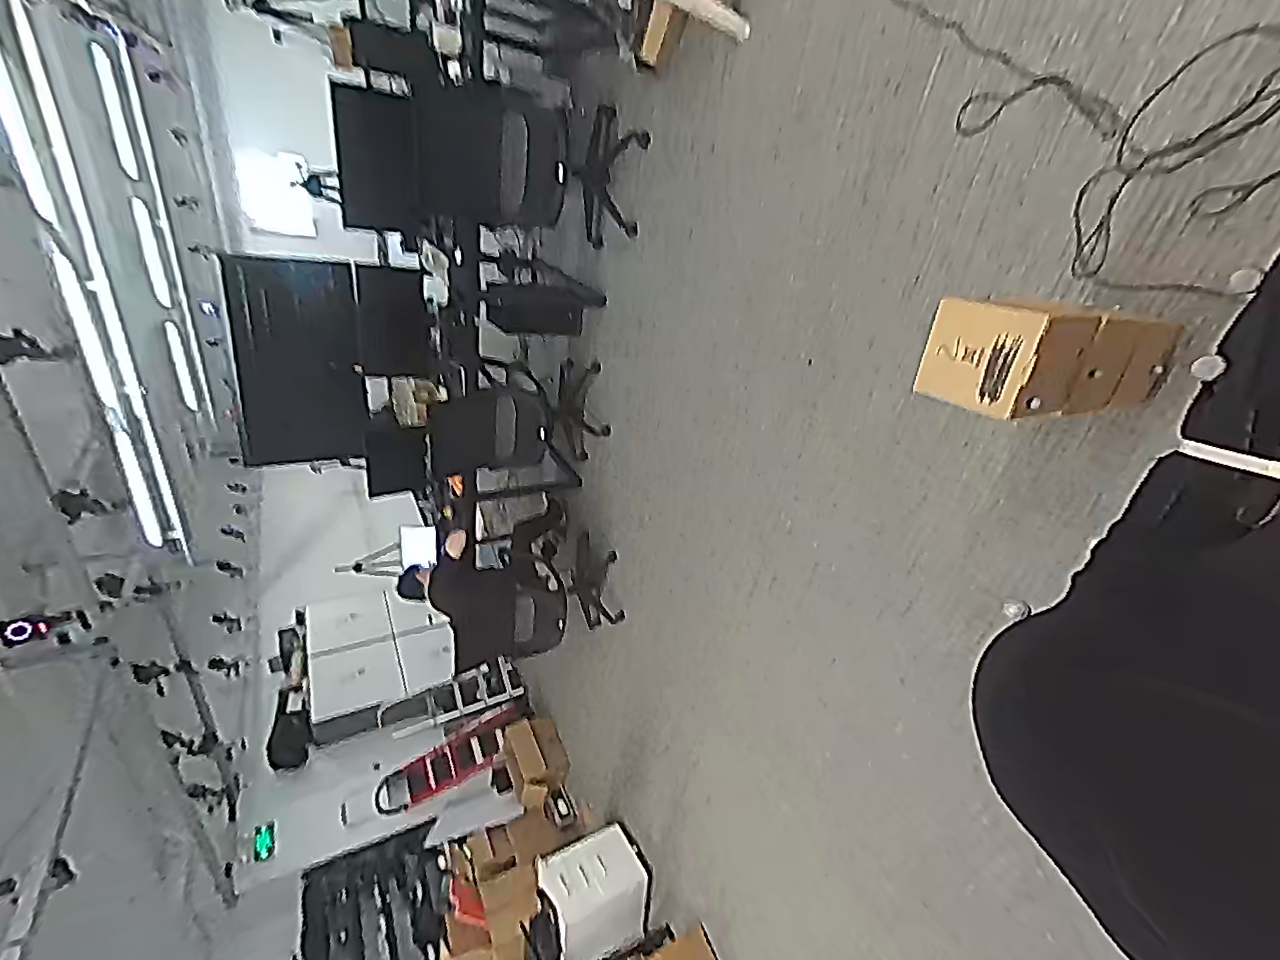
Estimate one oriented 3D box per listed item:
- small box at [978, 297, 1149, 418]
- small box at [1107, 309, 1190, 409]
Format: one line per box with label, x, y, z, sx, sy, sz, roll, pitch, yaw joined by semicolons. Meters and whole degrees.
small box;0.773;-0.229;0.987;0.168;0.176;0.179;41;133;49
small box;0.913;-0.247;1.066;0.179;0.176;0.168;39;131;50
